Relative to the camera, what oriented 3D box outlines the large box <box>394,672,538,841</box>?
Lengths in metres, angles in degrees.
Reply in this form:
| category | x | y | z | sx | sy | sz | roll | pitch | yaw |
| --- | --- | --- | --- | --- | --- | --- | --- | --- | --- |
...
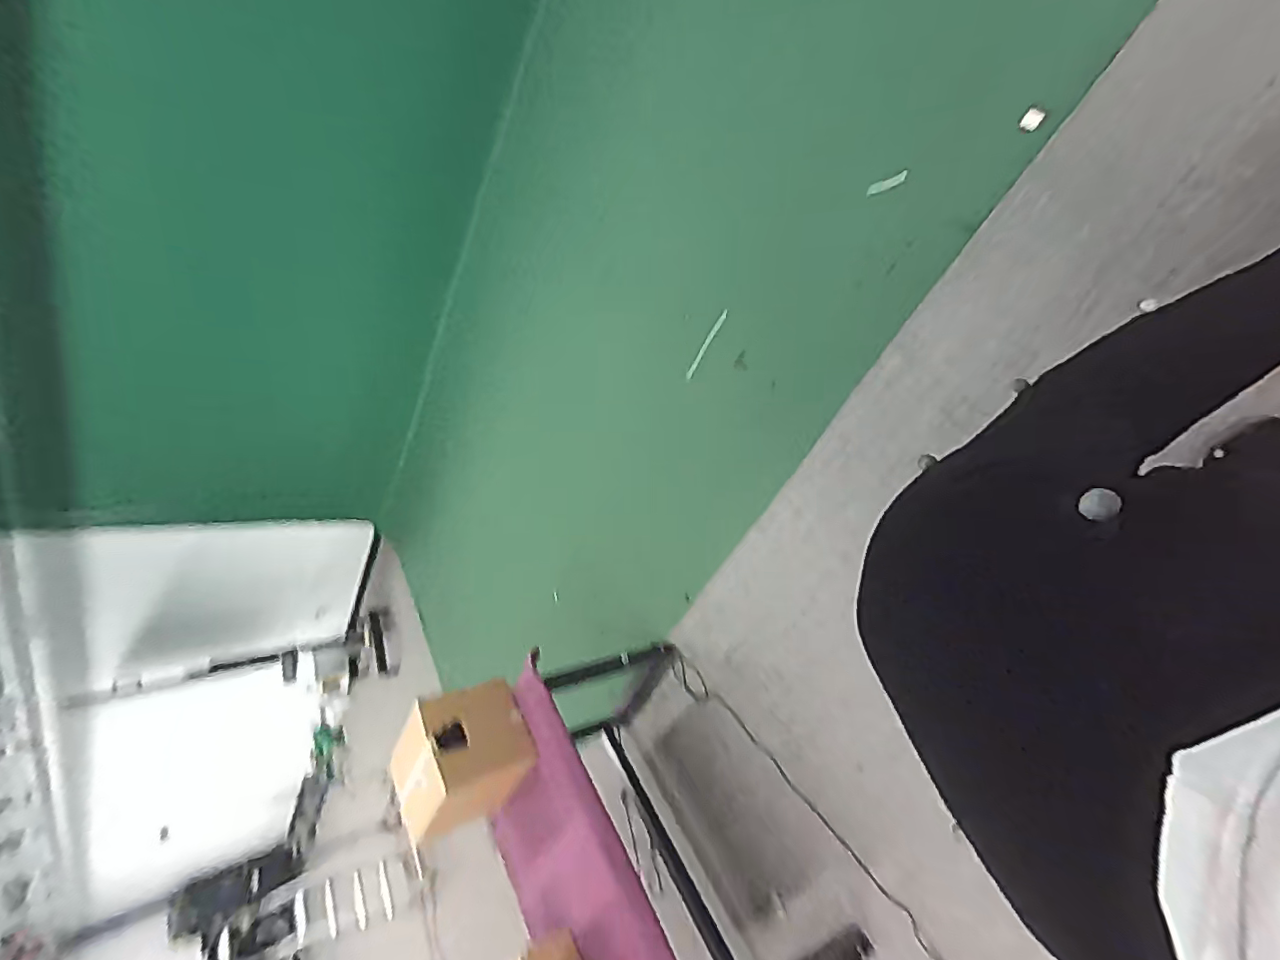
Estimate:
| category | x | y | z | sx | sy | sz | roll | pitch | yaw |
| --- | --- | --- | --- | --- | --- | --- | --- | --- | --- |
| large box | -0.599 | 0.927 | 1.842 | 0.320 | 0.320 | 0.408 | 52 | 125 | 33 |
